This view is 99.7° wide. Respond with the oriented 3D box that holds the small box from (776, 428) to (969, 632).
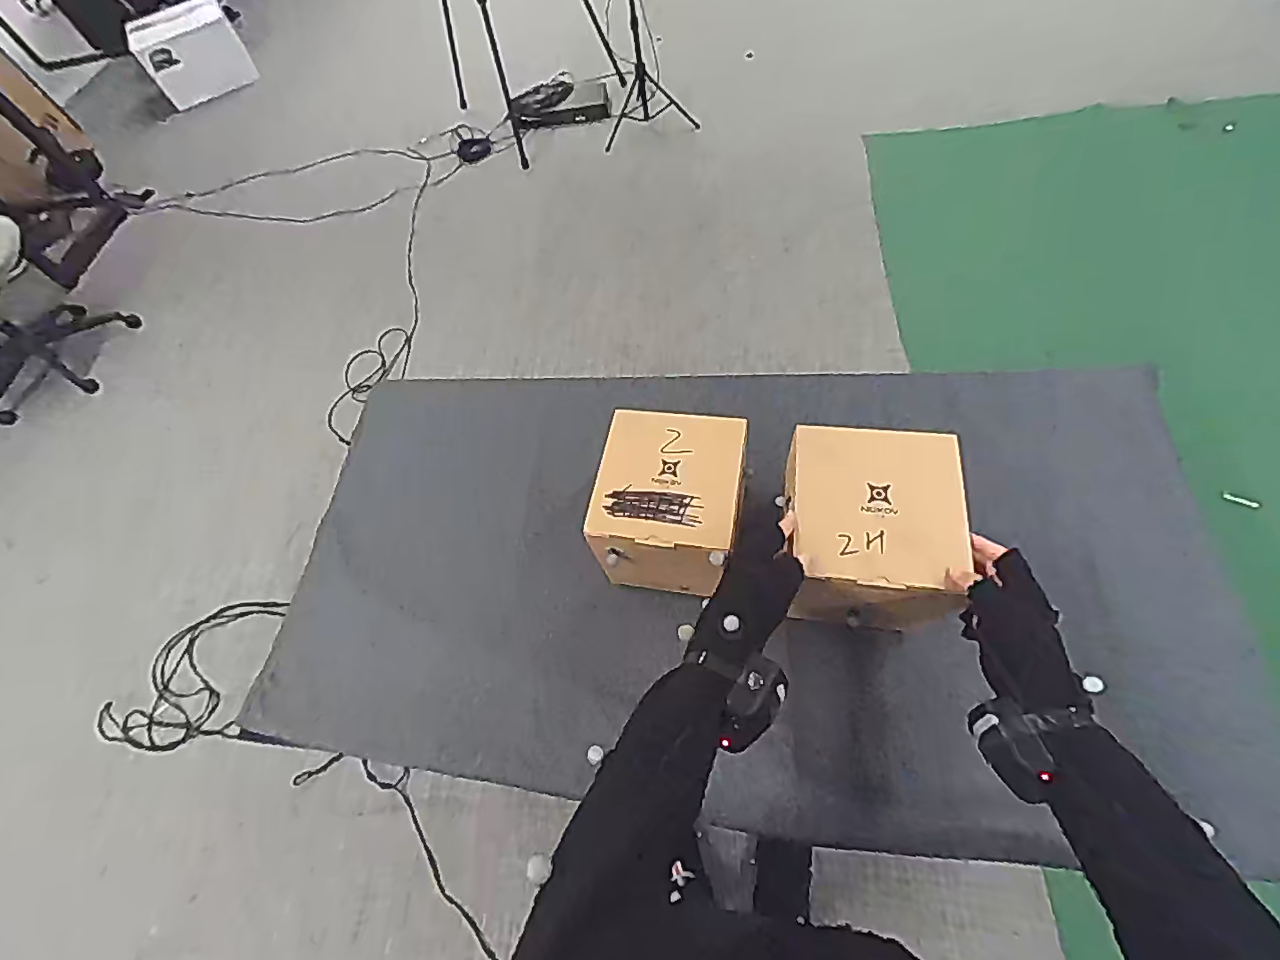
[{"bbox_3d":[0.250,0.062,0.622,0.168,0.176,0.179,5,64,11],"label":"small box"}]
